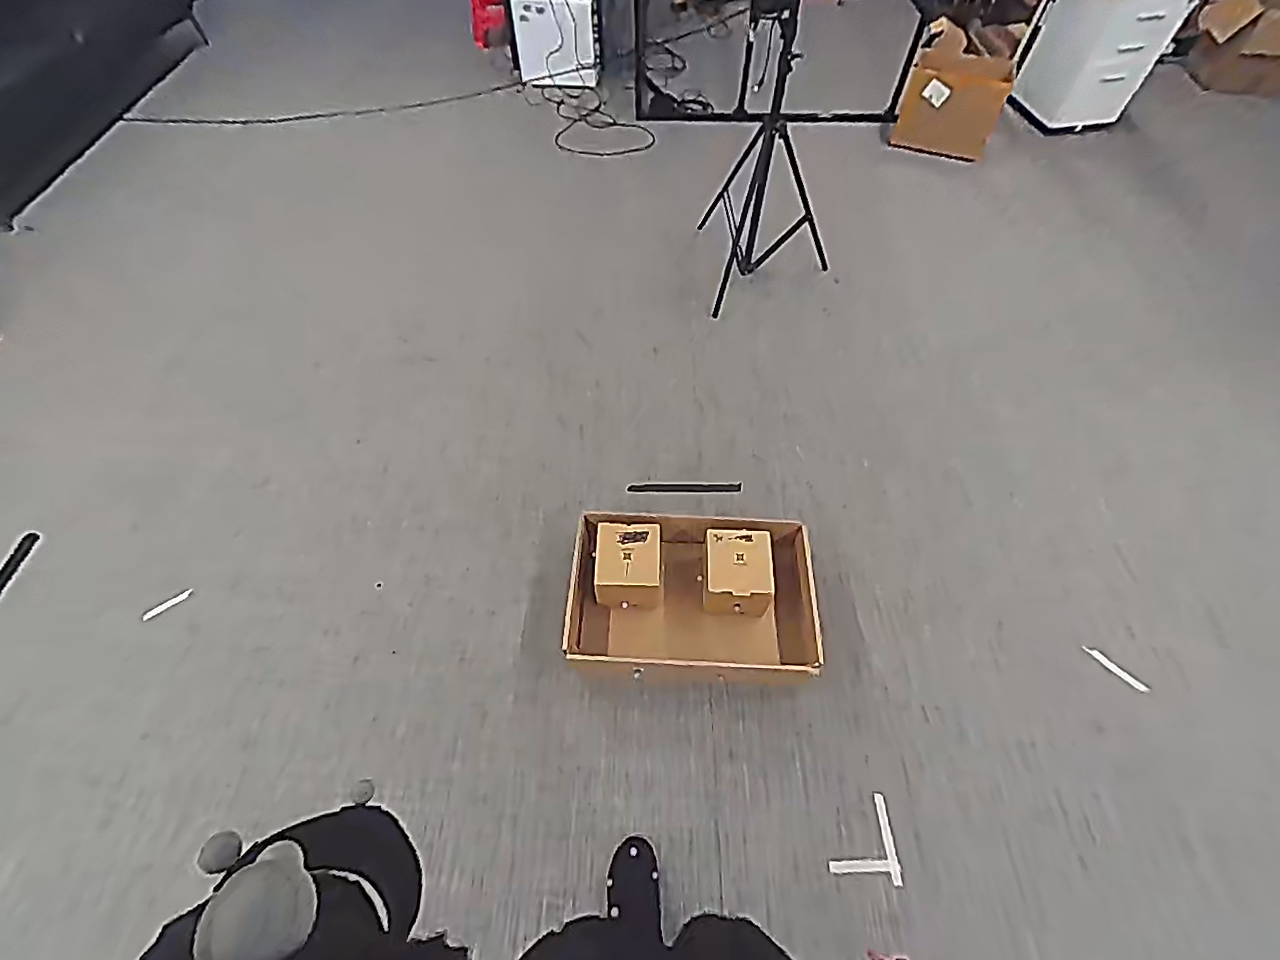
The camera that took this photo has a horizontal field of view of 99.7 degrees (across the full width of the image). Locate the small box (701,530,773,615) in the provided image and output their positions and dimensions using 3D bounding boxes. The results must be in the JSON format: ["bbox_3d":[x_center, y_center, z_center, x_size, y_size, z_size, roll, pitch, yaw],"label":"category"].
[{"bbox_3d":[0.253,0.250,1.437,0.168,0.176,0.179,2,59,2],"label":"small box"}]
